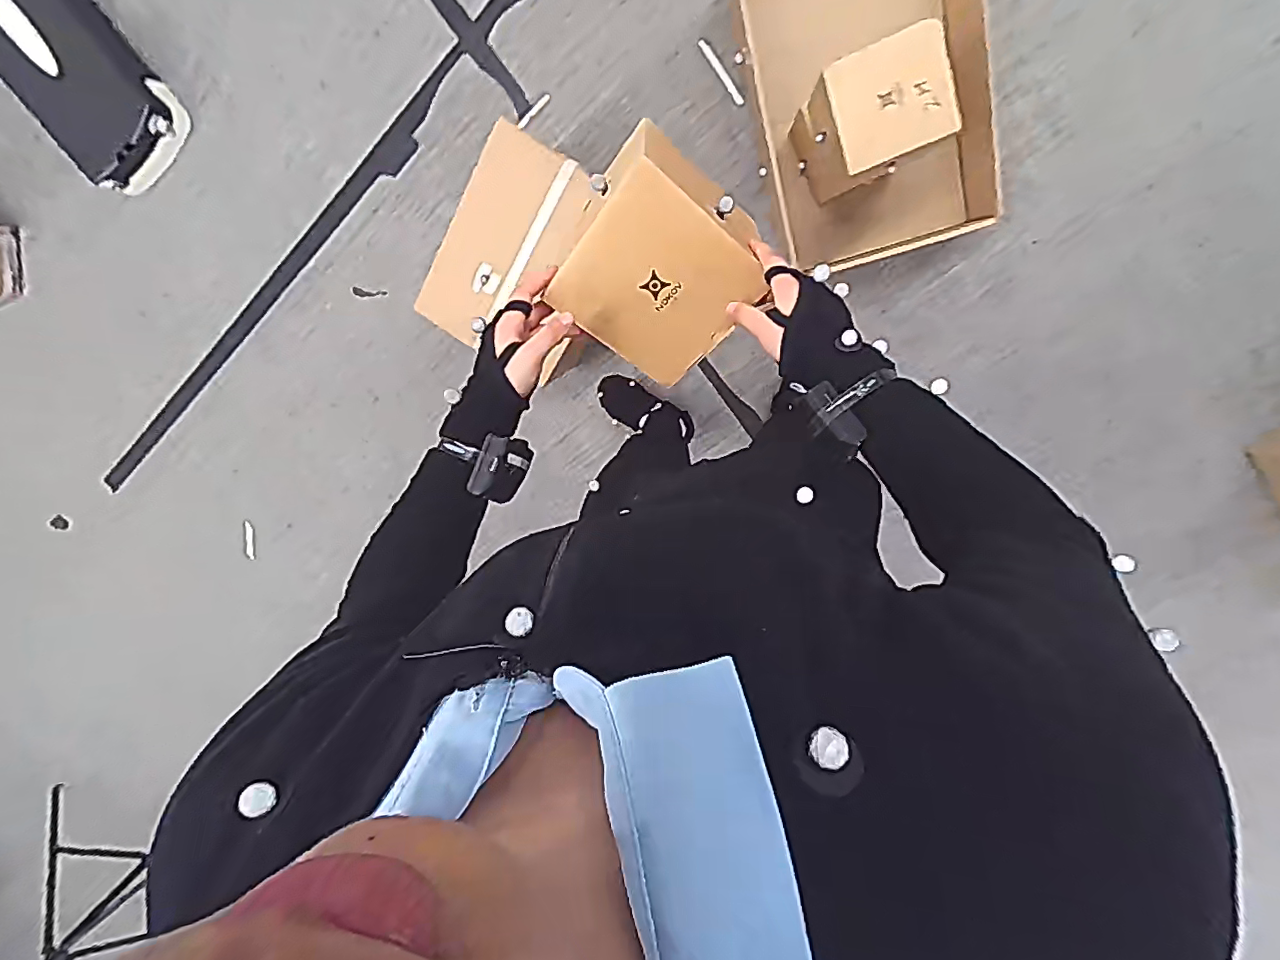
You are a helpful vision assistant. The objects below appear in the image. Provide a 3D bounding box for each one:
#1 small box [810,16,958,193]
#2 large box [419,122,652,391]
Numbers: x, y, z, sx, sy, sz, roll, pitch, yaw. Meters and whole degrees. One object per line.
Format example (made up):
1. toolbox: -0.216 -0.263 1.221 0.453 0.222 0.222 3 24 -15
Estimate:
1. small box: 0.397 -0.613 0.912 0.179 0.176 0.168 -18 104 12
2. large box: -0.211 -0.472 1.197 0.320 0.320 0.408 33 111 -4
